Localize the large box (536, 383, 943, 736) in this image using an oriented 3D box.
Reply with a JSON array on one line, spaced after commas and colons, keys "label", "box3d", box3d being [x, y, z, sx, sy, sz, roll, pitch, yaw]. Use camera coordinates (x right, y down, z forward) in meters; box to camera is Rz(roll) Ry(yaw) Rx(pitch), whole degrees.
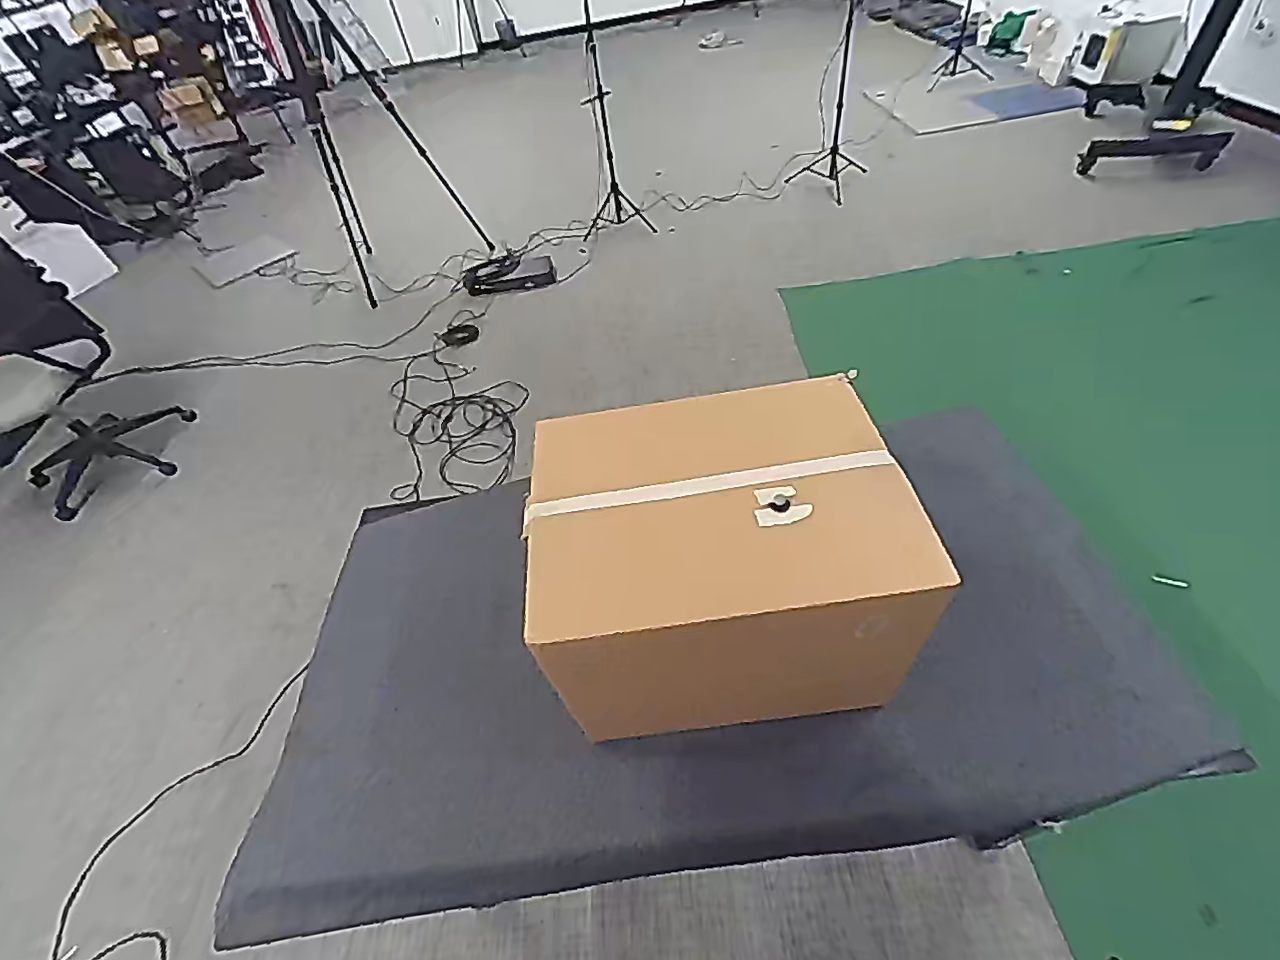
[{"label": "large box", "box3d": [0.095, 0.113, 0.723, 0.408, 0.320, 0.320, -8, 49, 2]}]
